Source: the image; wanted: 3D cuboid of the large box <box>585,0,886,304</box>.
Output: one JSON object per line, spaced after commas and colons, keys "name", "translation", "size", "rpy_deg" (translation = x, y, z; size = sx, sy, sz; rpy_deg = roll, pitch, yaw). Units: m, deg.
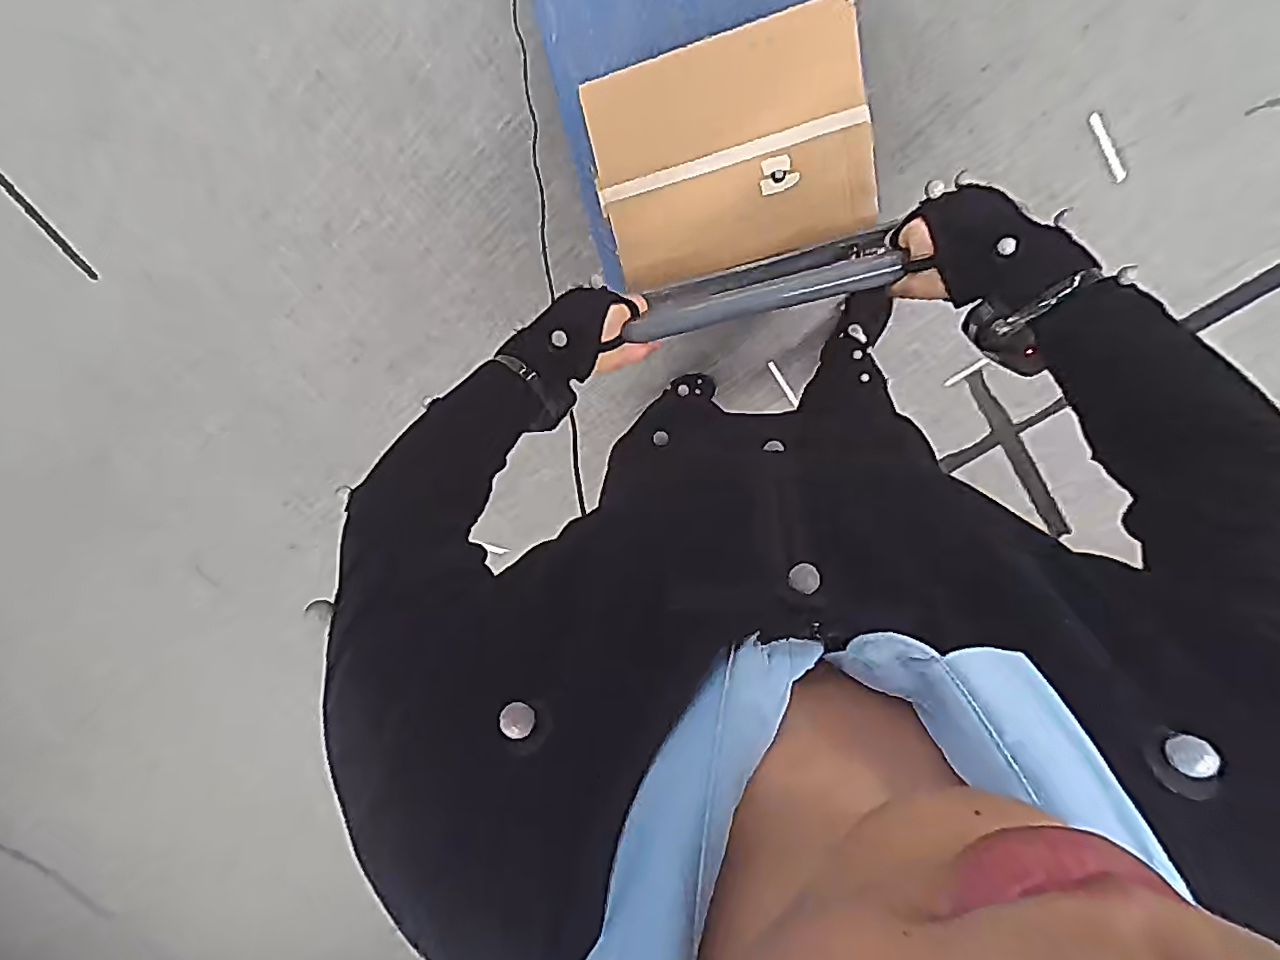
{"name": "large box", "translation": [0.162, -0.521, 0.955], "size": [0.408, 0.320, 0.320], "rpy_deg": [-12, 108, 12]}
